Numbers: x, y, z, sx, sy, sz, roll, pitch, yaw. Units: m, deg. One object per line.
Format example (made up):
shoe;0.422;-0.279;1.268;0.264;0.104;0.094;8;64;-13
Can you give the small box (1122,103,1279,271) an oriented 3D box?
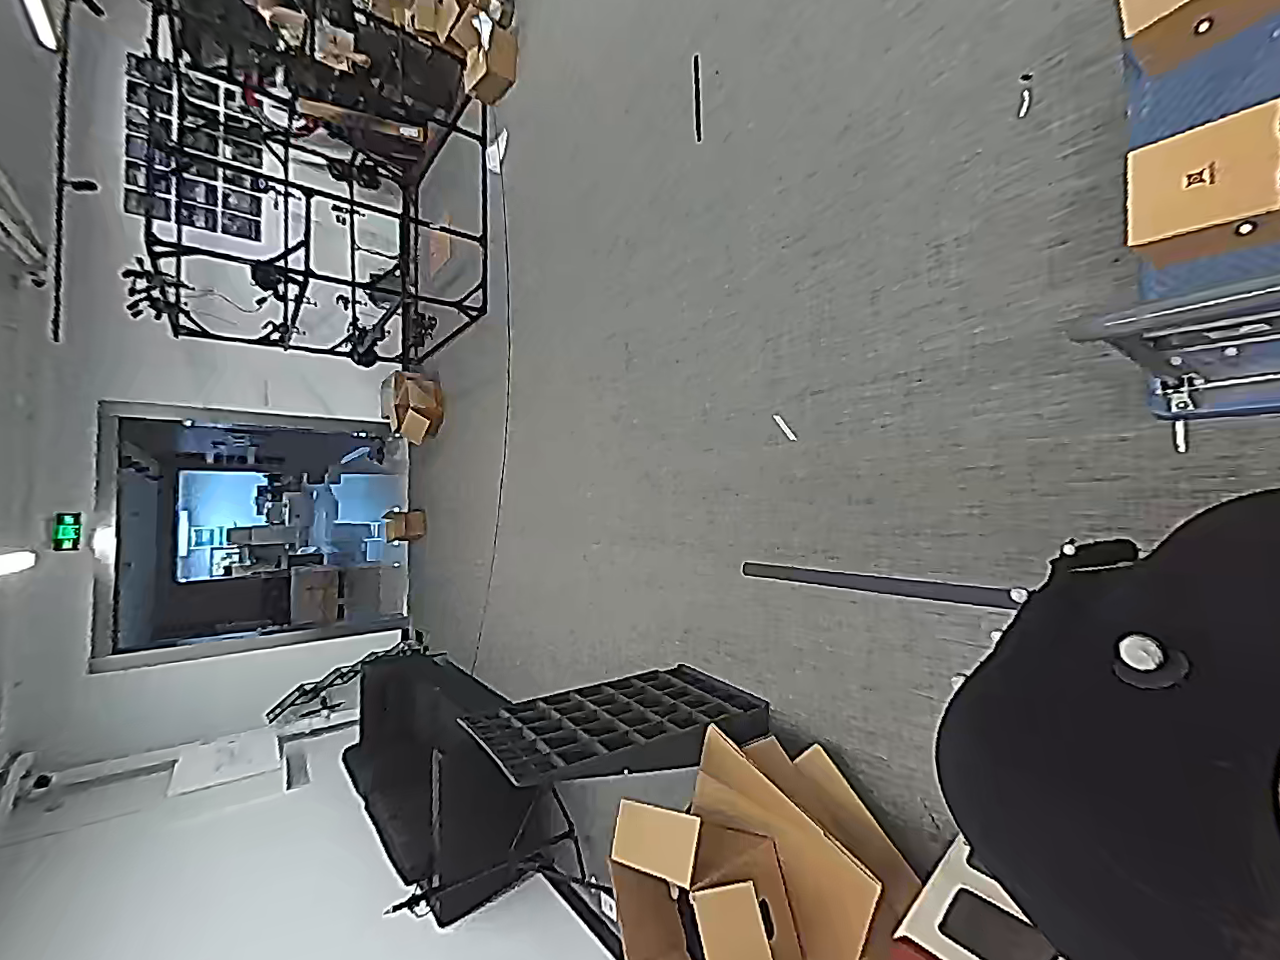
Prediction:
small box;0.949;-0.474;0.912;0.179;0.176;0.168;-1;88;52
